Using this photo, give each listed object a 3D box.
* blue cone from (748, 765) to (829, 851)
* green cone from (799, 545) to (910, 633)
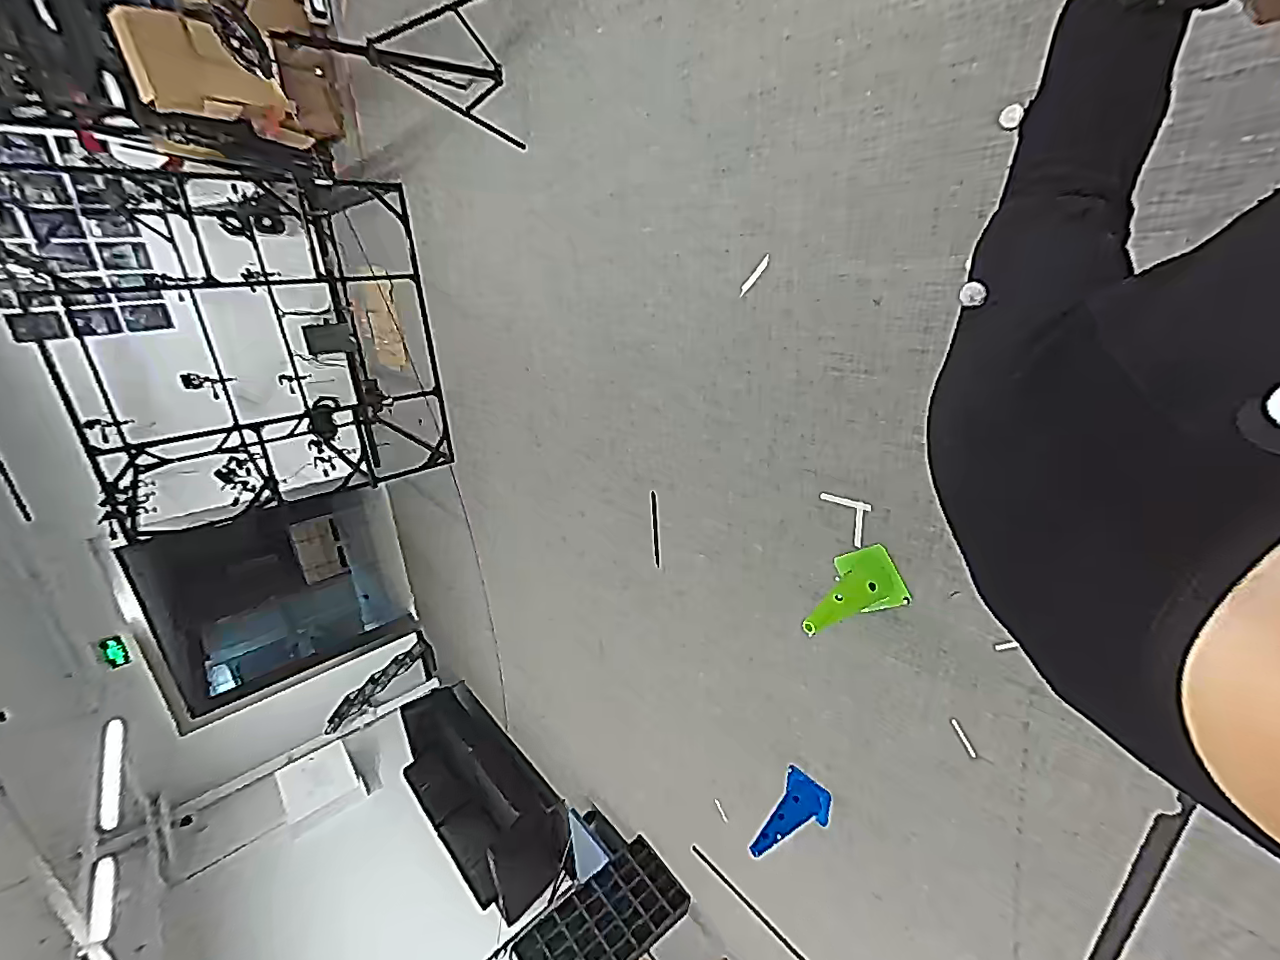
[{"bbox_3d":[0.577,1.357,2.169,0.192,0.380,0.193,26,125,45],"label":"blue cone"},{"bbox_3d":[0.608,0.361,1.632,0.202,0.368,0.200,-38,75,54],"label":"green cone"}]
